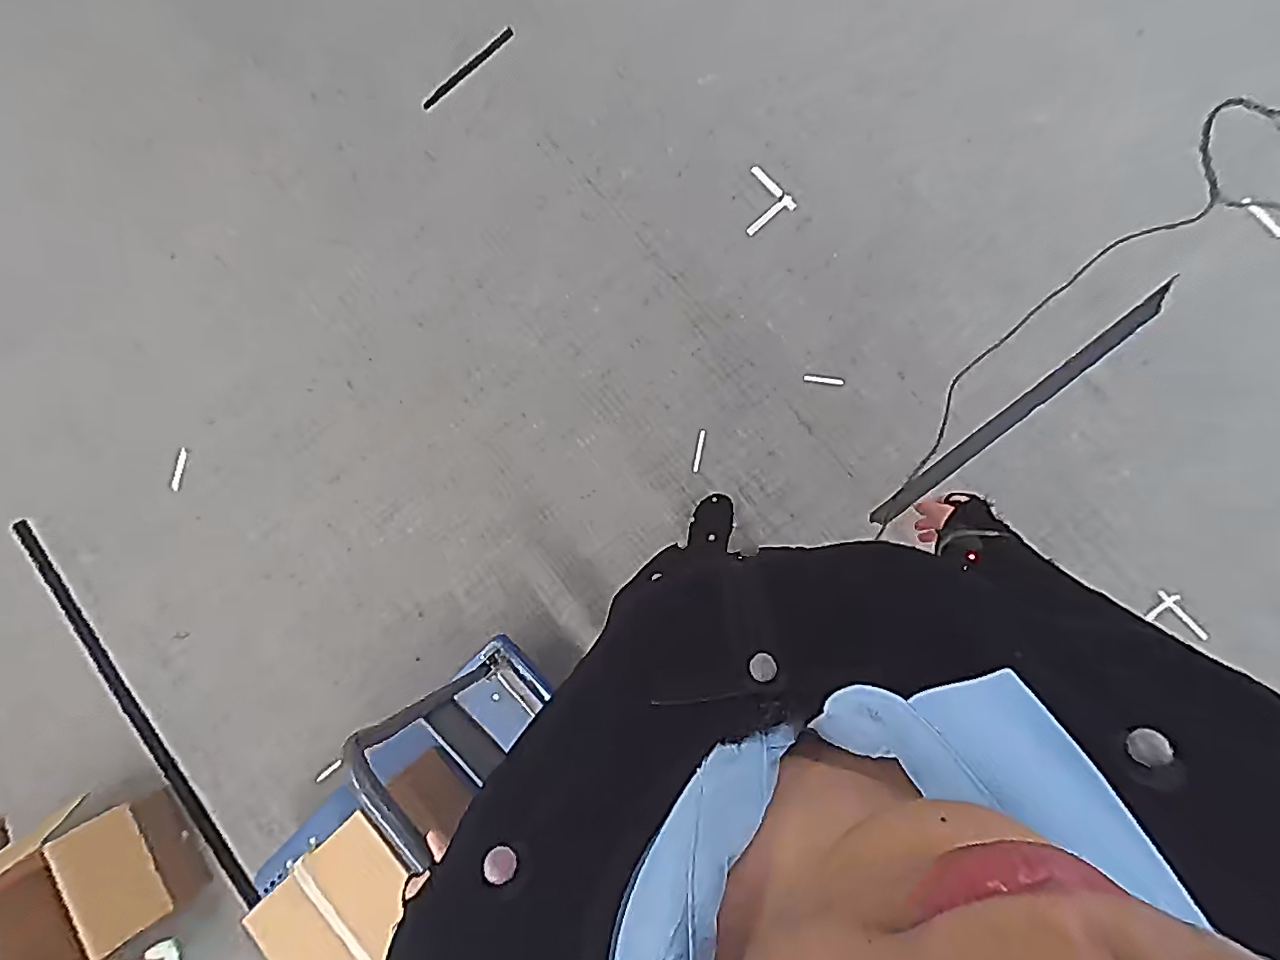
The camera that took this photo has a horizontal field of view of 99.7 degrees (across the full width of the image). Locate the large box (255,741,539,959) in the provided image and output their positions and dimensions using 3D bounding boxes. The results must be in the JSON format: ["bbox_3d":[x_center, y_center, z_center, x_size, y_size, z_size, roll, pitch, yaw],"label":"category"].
[{"bbox_3d":[-0.493,0.872,1.172,0.320,0.320,0.408,-44,83,1],"label":"large box"}]
